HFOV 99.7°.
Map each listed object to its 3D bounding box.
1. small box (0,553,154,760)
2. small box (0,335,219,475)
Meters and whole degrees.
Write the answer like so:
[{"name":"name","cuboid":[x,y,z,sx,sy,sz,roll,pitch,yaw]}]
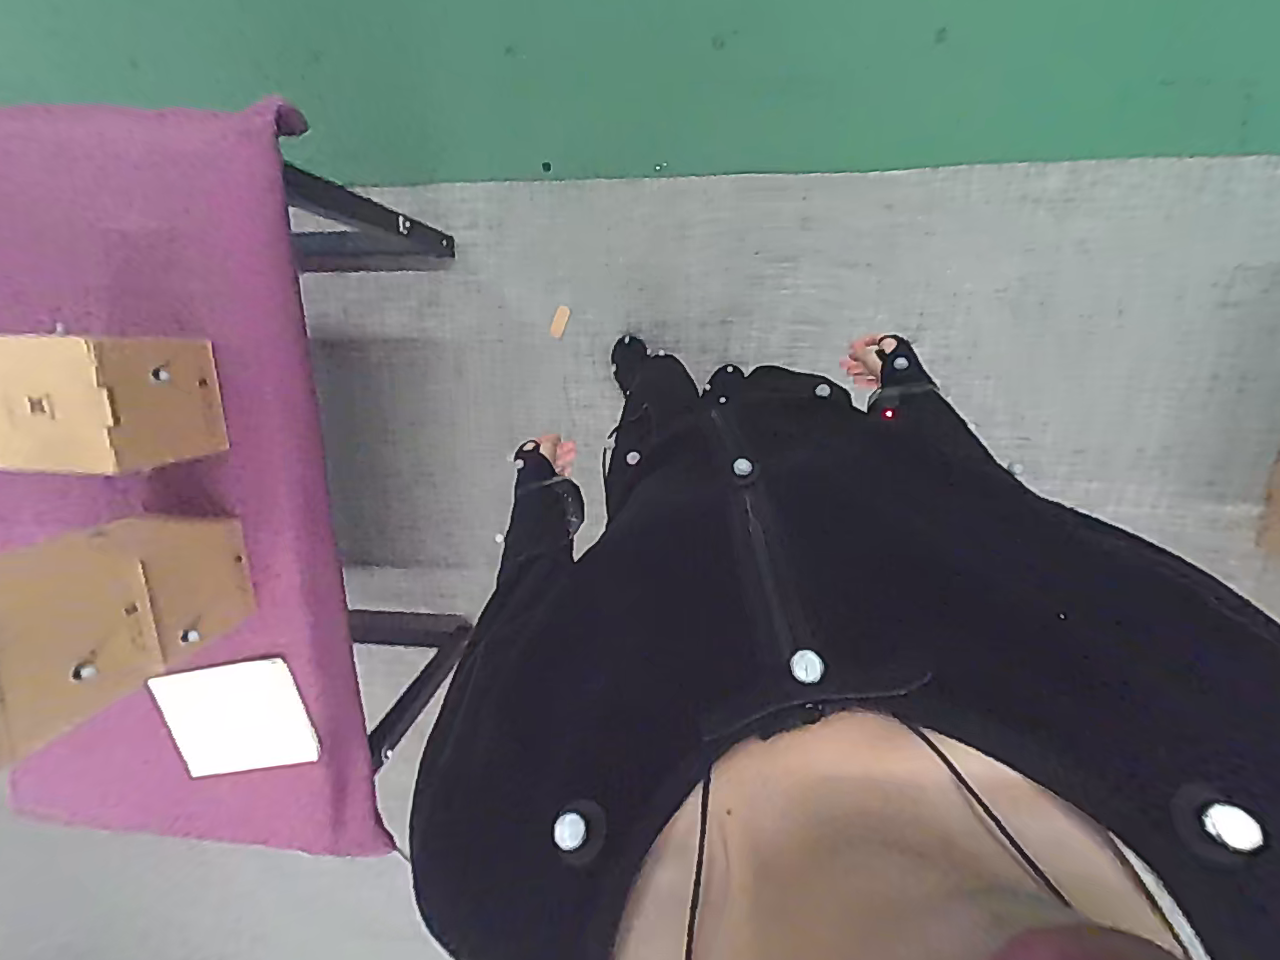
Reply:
[{"name":"small box","cuboid":[-0.726,0.194,0.636,0.179,0.176,0.168,3,104,6]},{"name":"small box","cuboid":[-0.713,-0.108,0.730,0.179,0.176,0.168,3,103,6]}]
